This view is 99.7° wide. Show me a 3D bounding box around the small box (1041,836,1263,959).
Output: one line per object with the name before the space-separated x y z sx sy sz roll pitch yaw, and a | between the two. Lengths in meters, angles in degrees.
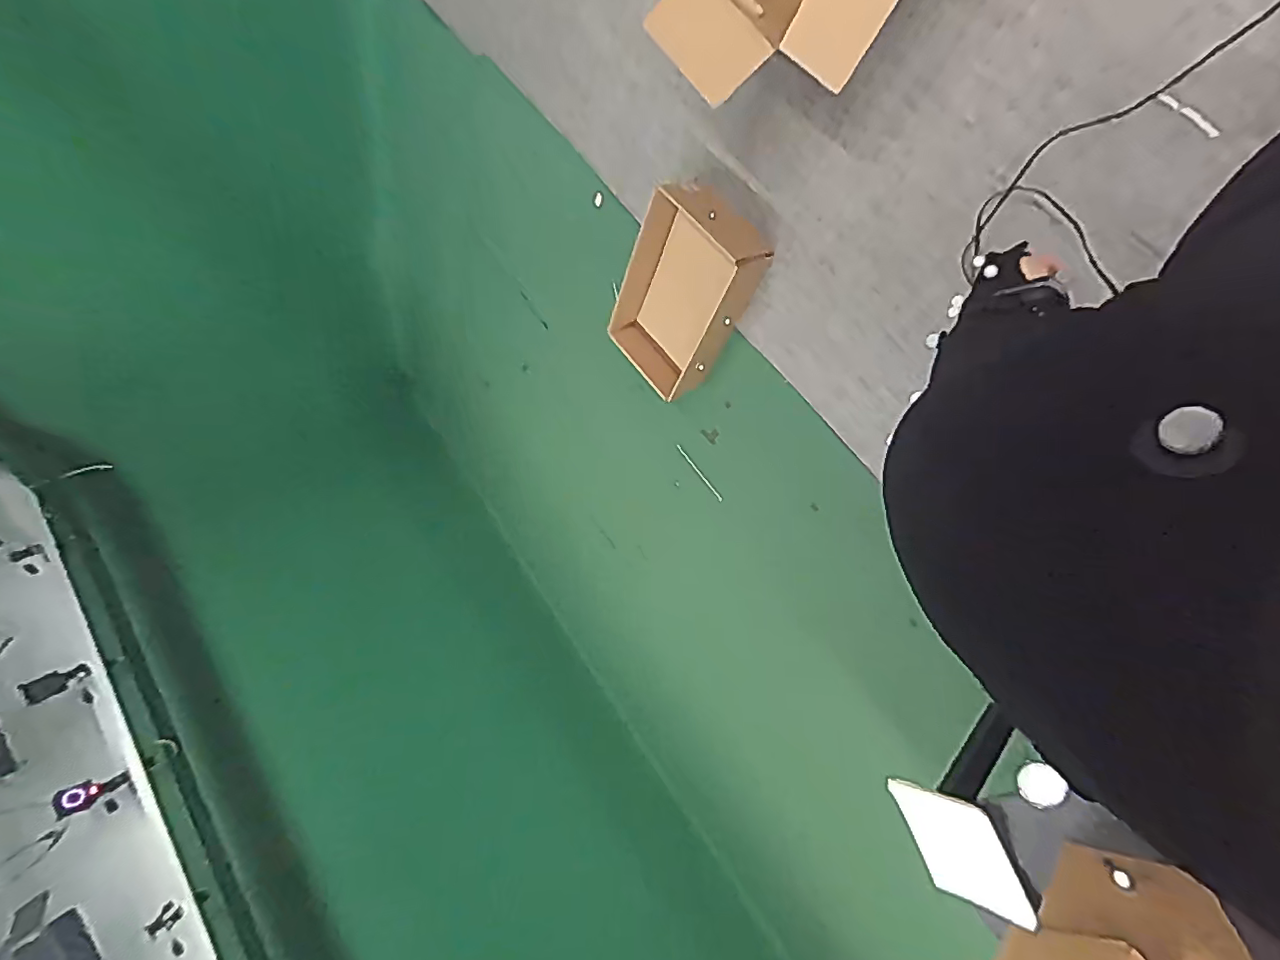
small box | 0.707 0.644 0.742 0.179 0.176 0.168 61 146 2

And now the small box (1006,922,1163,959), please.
small box | 0.571 0.690 0.661 0.168 0.176 0.179 51 144 16
